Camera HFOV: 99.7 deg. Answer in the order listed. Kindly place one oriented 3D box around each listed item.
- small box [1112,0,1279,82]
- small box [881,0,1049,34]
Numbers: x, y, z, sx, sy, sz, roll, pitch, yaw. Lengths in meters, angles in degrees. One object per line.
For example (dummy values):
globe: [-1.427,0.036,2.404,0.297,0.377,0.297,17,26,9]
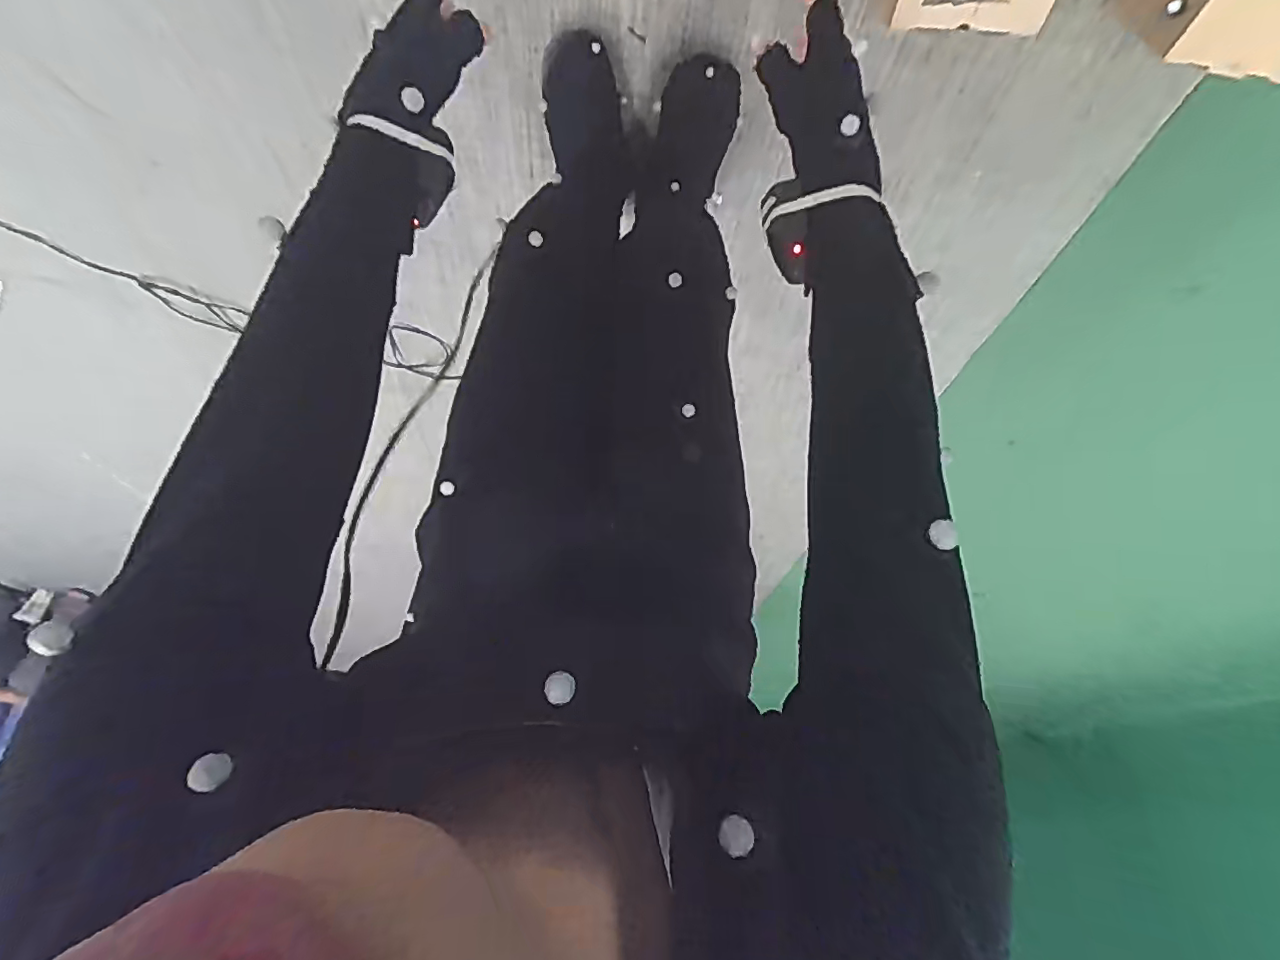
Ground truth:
small box: [0.688,-0.587,0.596,0.168,0.176,0.179,7,148,-4]
small box: [0.365,-0.618,0.575,0.168,0.176,0.179,3,147,-1]
